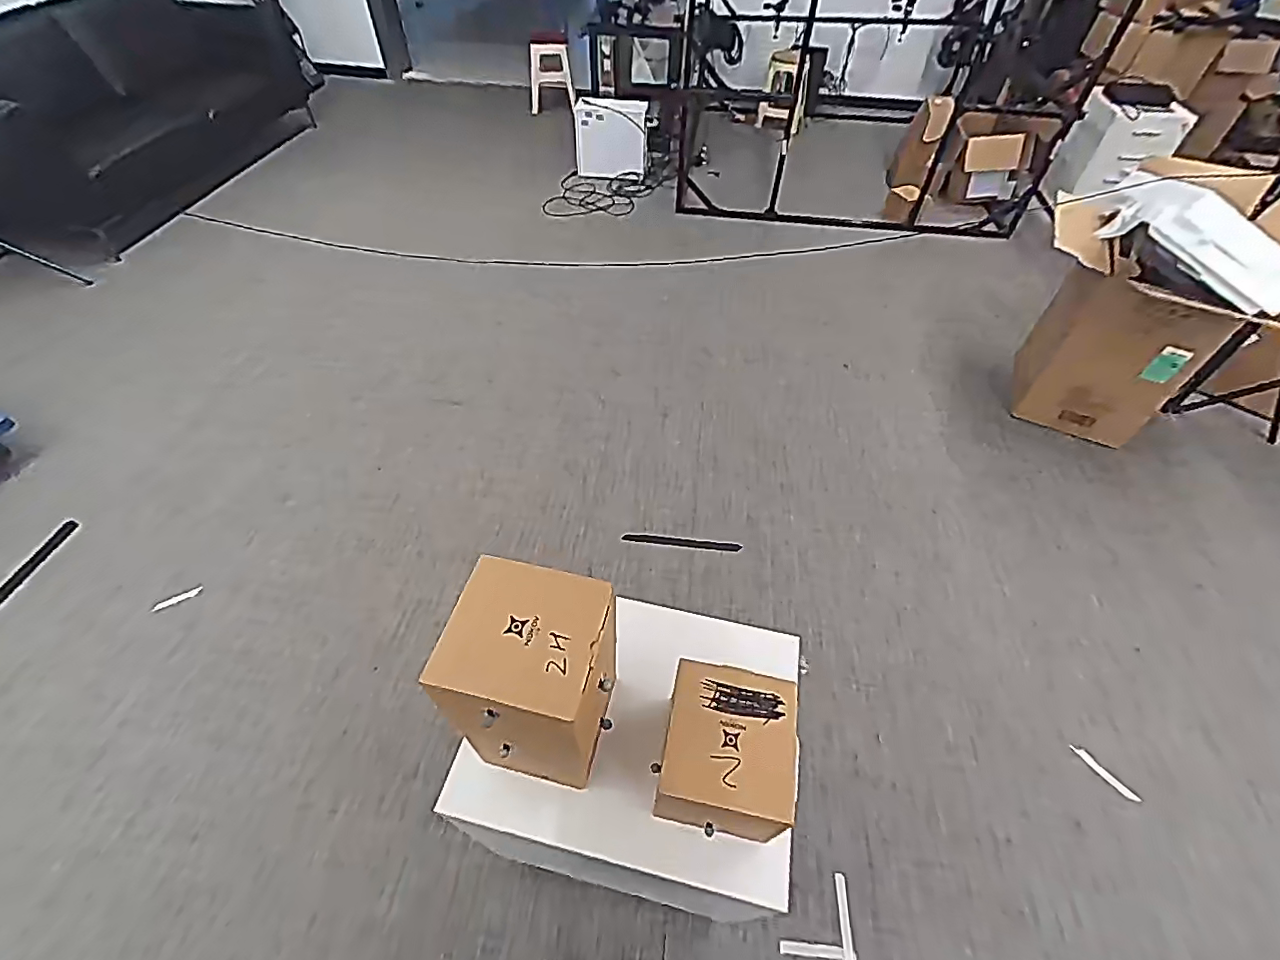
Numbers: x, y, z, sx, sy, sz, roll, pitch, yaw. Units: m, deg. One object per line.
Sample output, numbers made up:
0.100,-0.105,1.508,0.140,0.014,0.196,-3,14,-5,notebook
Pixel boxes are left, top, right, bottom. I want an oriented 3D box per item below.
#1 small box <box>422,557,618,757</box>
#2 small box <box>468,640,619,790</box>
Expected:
-0.132,0.222,0.671,0.179,0.176,0.168,12,51,7,small box
-0.134,0.327,0.798,0.168,0.176,0.179,12,49,8,small box
